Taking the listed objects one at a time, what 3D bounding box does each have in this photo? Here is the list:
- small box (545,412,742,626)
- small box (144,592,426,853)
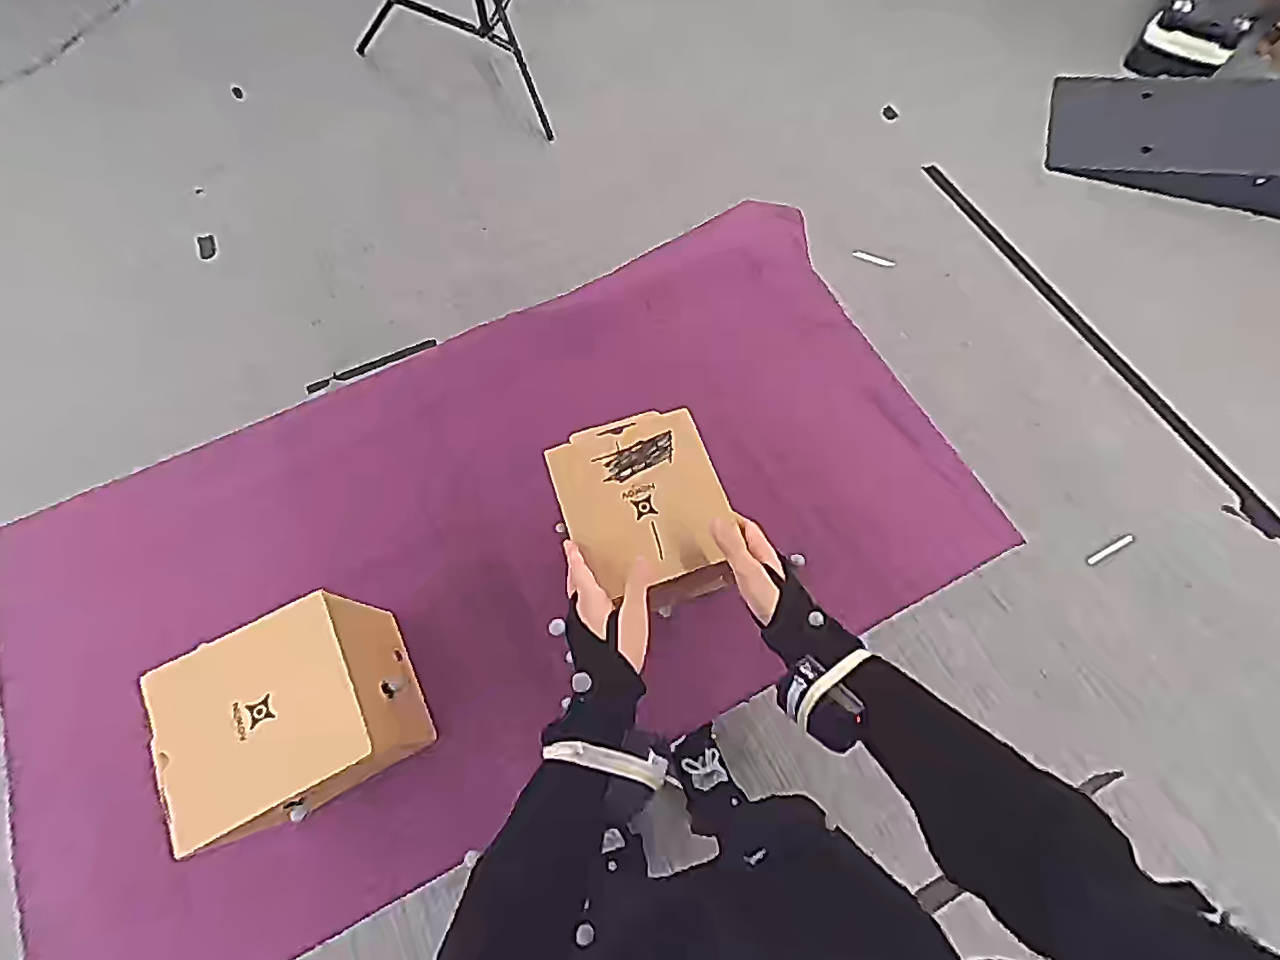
[{"bbox_3d":[-0.002,0.053,0.629,0.168,0.176,0.179,-17,69,-7],"label":"small box"},{"bbox_3d":[-0.349,0.239,0.569,0.179,0.176,0.168,-27,71,-9],"label":"small box"}]
